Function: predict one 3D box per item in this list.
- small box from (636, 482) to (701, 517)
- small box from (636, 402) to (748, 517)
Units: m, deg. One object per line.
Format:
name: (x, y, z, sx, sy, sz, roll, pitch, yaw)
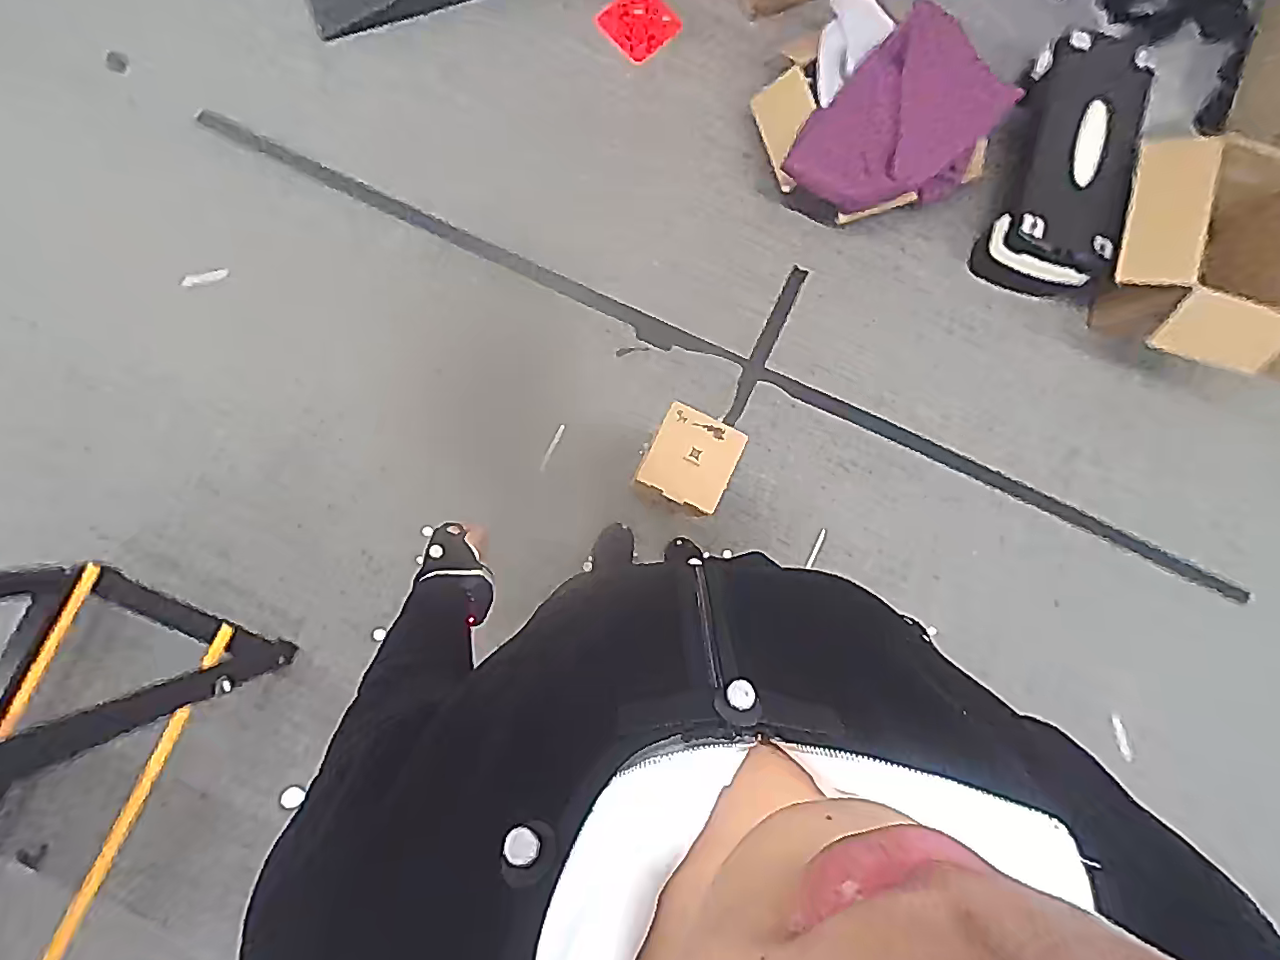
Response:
small box: (0.096, -0.023, 1.287, 0.168, 0.176, 0.179, 26, 85, 1)
small box: (0.101, -0.035, 1.123, 0.168, 0.176, 0.179, 26, 85, 0)
